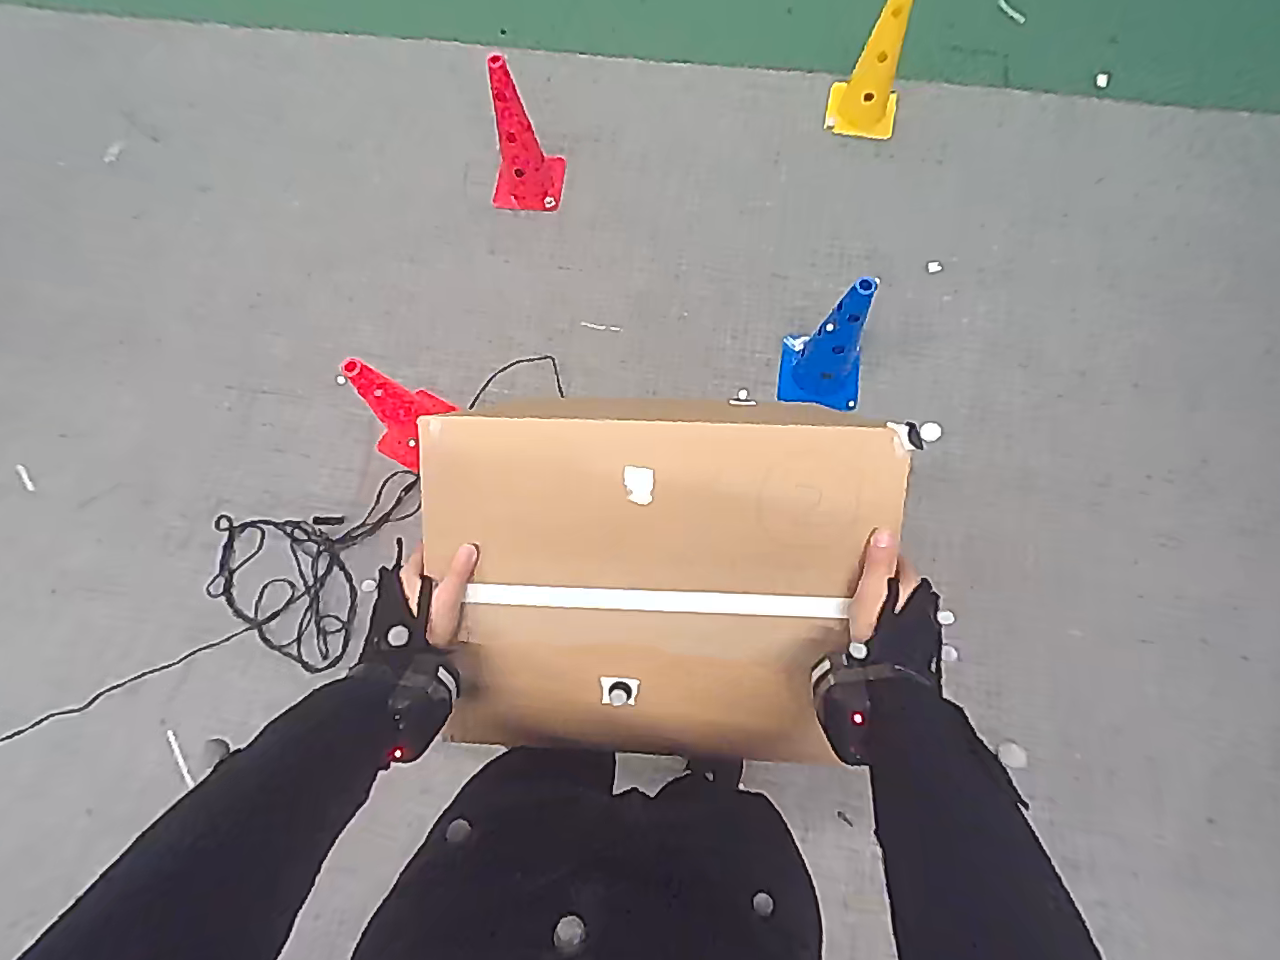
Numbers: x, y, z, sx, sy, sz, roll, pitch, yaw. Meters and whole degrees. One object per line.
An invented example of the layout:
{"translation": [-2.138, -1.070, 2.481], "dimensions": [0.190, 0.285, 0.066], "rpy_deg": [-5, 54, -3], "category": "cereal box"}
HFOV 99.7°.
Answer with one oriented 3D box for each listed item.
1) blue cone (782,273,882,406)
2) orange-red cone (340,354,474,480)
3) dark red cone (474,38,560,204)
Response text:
{"translation": [0.454, -0.333, 1.229], "dimensions": [0.192, 0.380, 0.193], "rpy_deg": [9, 73, 6], "category": "blue cone"}
{"translation": [-0.562, -0.172, 1.225], "dimensions": [0.199, 0.360, 0.198], "rpy_deg": [28, 75, 13], "category": "orange-red cone"}
{"translation": [-0.352, -0.952, 1.444], "dimensions": [0.202, 0.394, 0.201], "rpy_deg": [2, 69, 4], "category": "dark red cone"}
